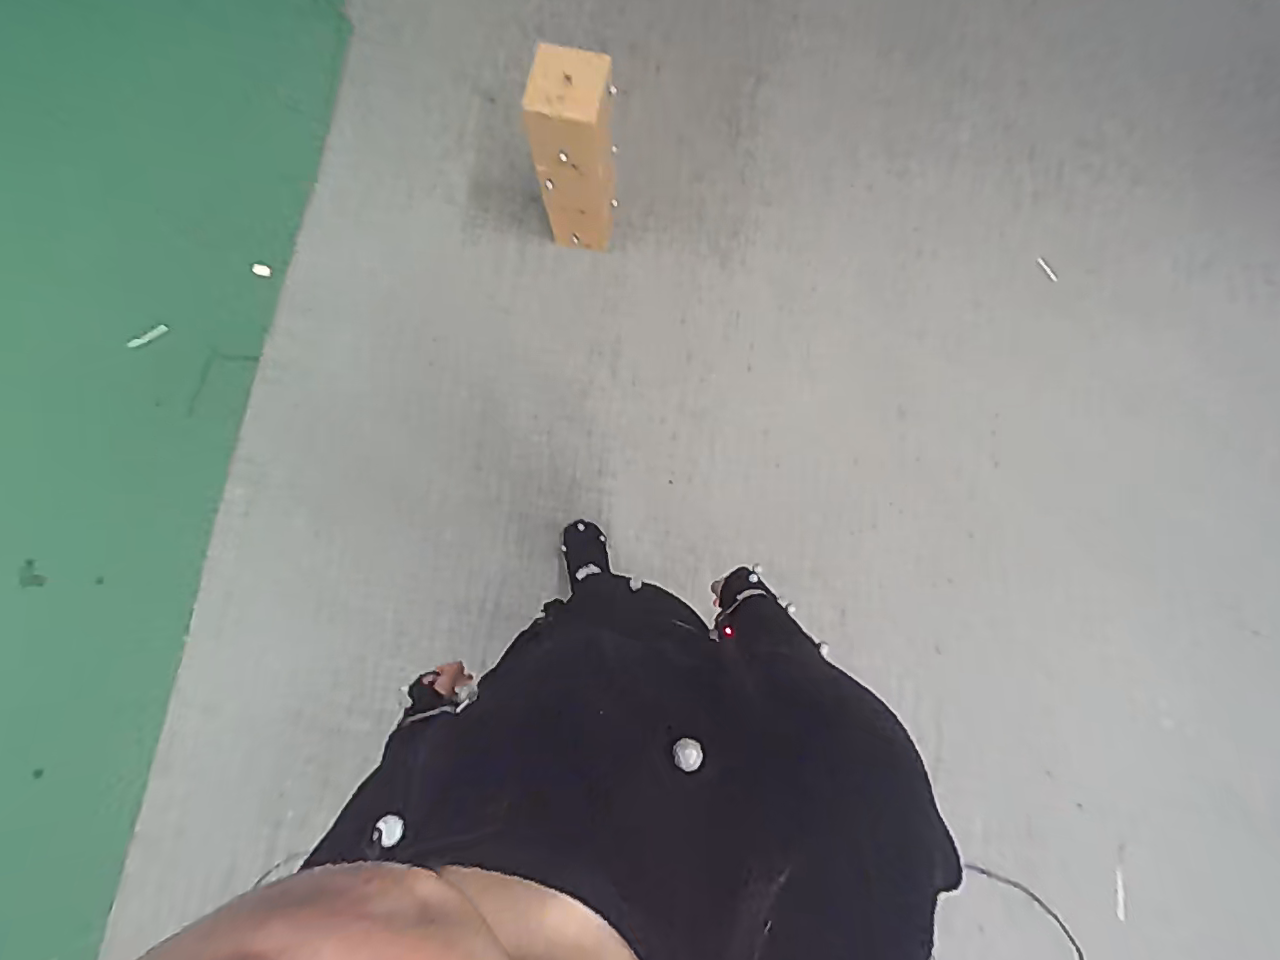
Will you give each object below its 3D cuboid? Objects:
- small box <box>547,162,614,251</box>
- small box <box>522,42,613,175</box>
[{"bbox_3d":[-0.170,-0.807,1.587,0.168,0.176,0.179,9,81,0],"label":"small box"},{"bbox_3d":[-0.162,-0.859,1.262,0.168,0.176,0.179,12,81,1],"label":"small box"}]
